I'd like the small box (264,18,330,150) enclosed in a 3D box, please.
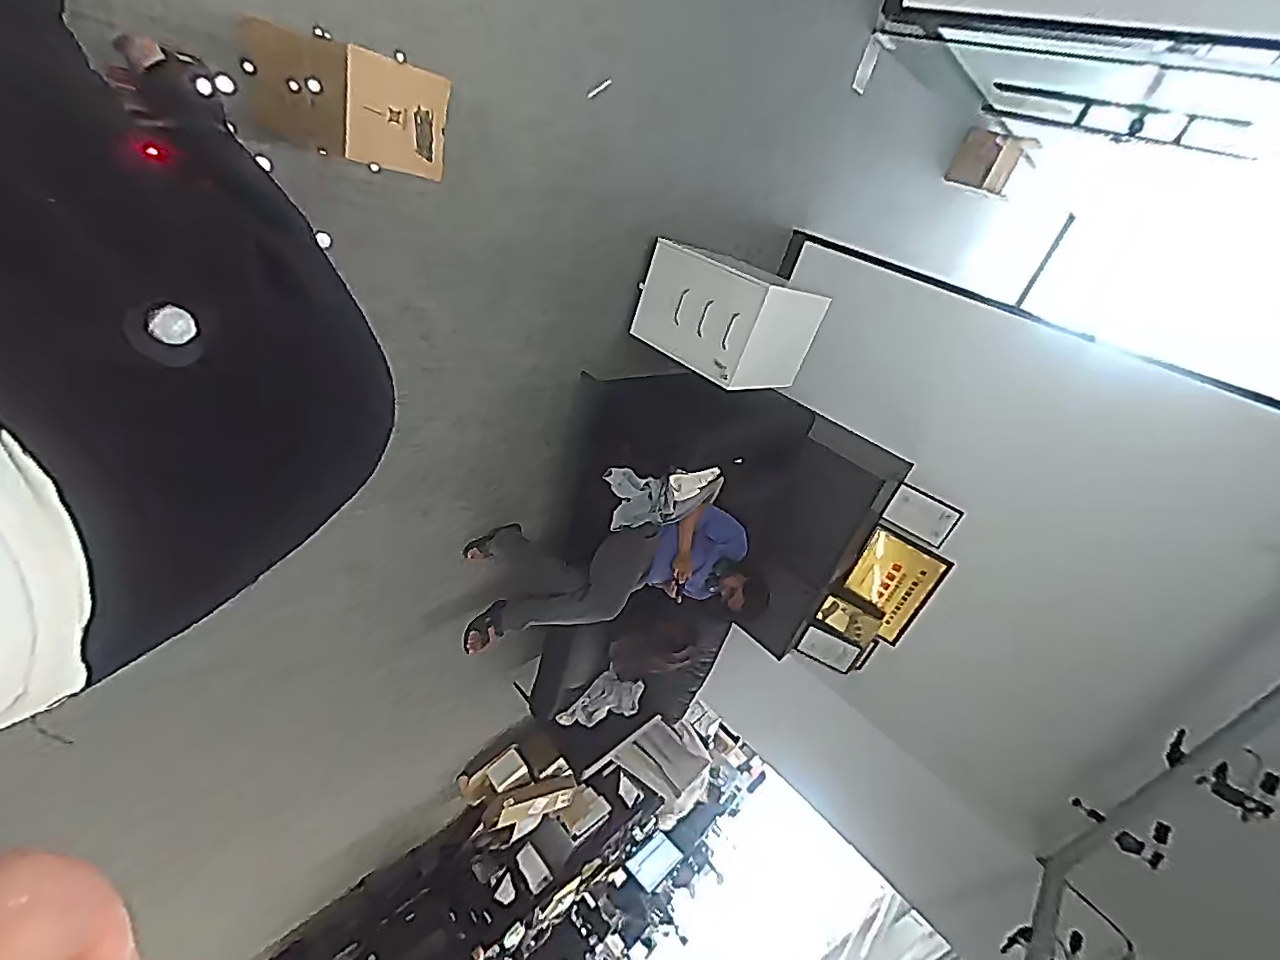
[{"bbox_3d":[-0.605,-0.753,1.048,0.168,0.176,0.179,-17,138,-46],"label":"small box"}]

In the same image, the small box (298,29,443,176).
[{"bbox_3d":[-0.483,-0.673,0.967,0.179,0.176,0.168,-15,133,-46],"label":"small box"}]

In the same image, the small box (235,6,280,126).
[{"bbox_3d":[-0.717,-0.839,1.125,0.168,0.176,0.179,-17,136,-47],"label":"small box"}]
